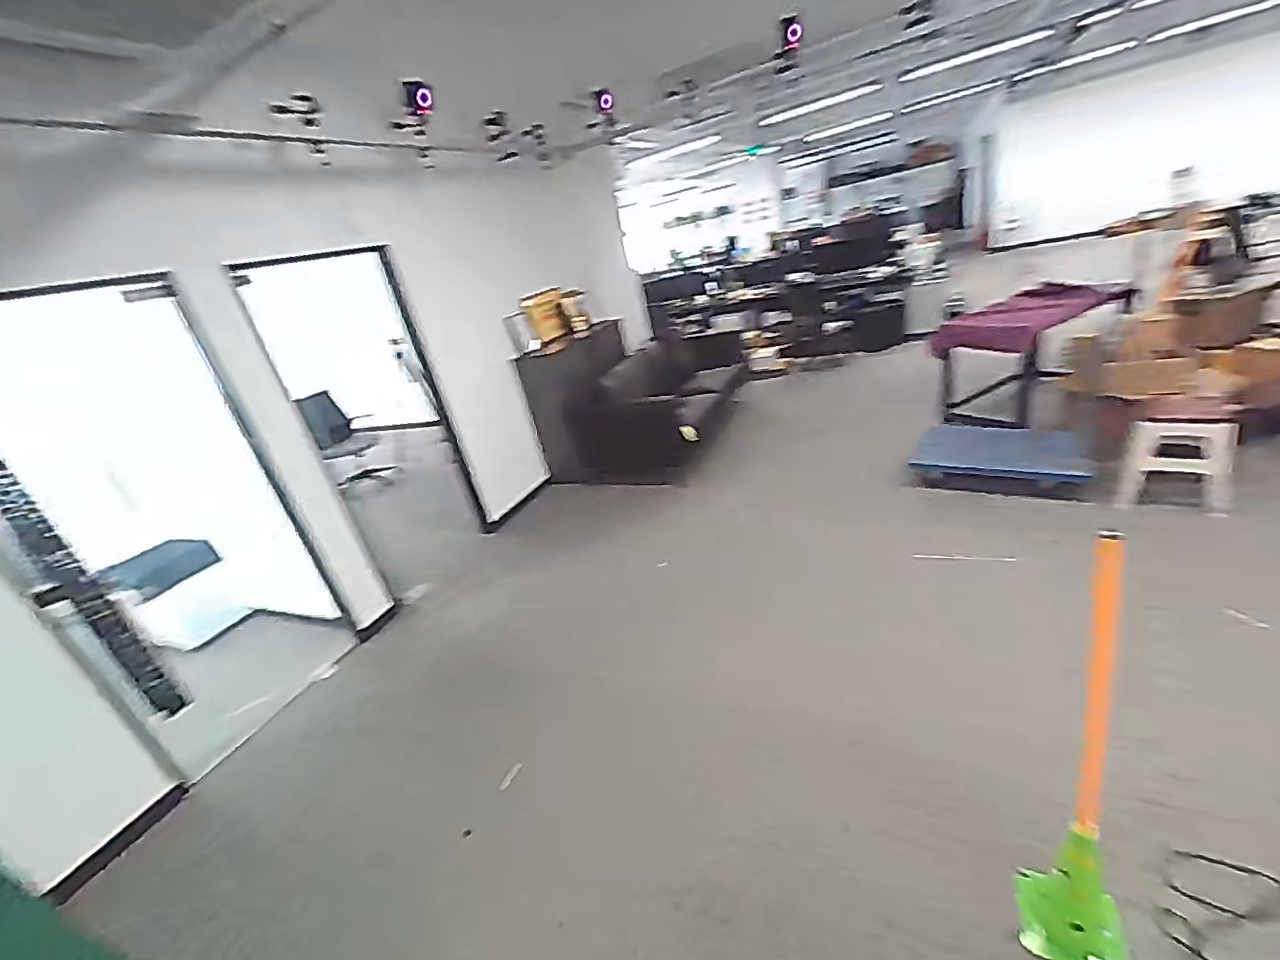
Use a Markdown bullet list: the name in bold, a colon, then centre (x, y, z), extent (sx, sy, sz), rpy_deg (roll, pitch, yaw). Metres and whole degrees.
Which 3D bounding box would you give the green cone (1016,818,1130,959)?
- **green cone**: centre (1.001, 0.907, 1.232), extent (0.202, 0.368, 0.200), rpy_deg (1, 27, 28)
